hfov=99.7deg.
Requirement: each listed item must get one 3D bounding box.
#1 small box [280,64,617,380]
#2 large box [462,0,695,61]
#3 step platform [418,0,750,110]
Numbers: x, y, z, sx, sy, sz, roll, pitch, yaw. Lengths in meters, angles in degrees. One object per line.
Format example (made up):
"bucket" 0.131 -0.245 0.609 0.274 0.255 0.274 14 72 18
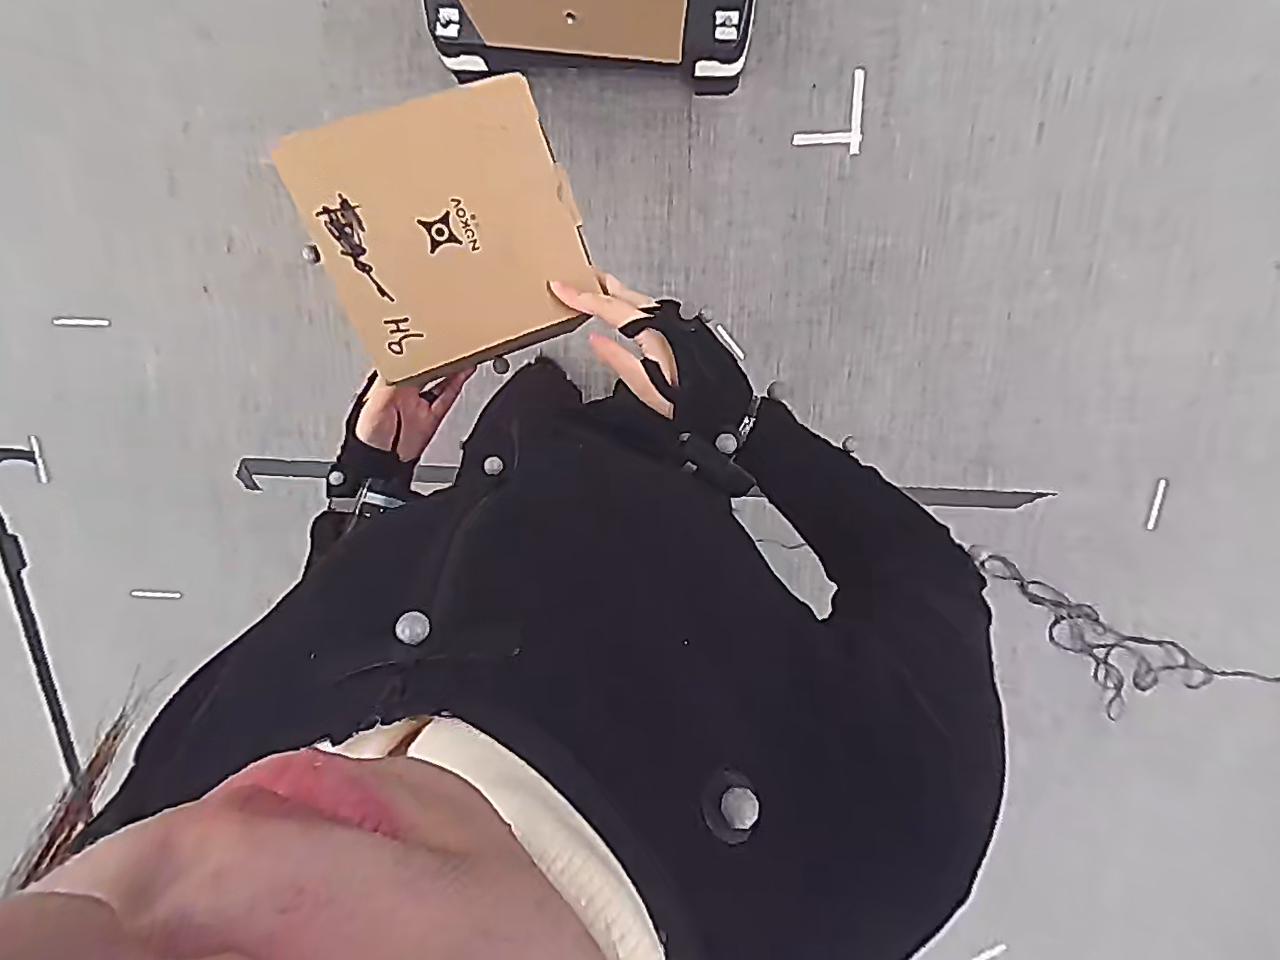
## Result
"small box" -0.142 -0.188 0.441 0.179 0.176 0.168 -22 103 -12
"large box" -0.098 -0.960 0.909 0.408 0.320 0.320 6 103 3
"step platform" -0.111 -1.015 1.142 0.684 0.204 0.286 8 104 2
